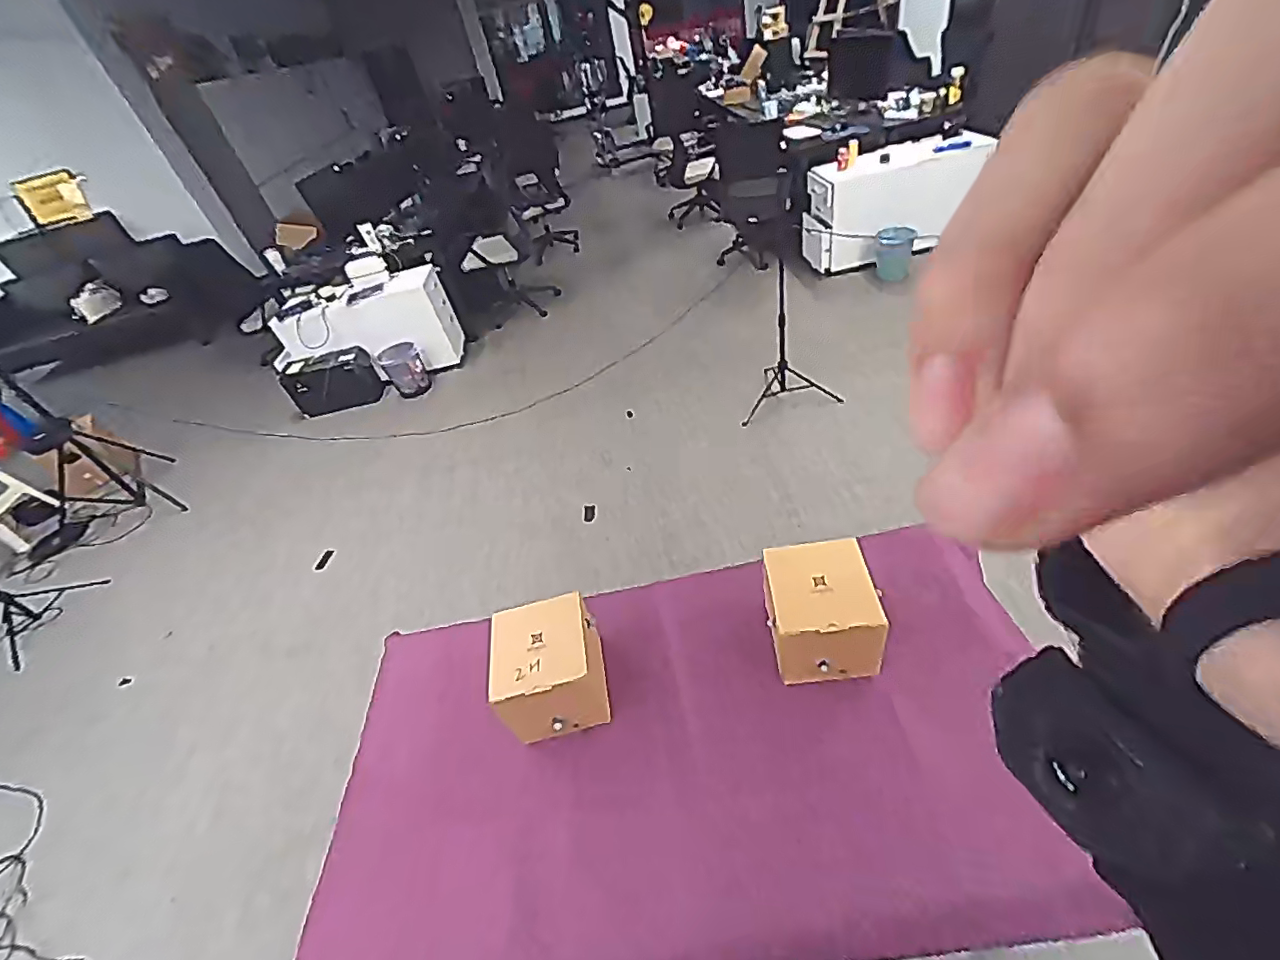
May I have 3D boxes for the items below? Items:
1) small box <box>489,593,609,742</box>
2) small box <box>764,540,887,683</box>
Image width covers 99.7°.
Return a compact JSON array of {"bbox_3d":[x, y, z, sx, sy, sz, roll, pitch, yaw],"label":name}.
[{"bbox_3d":[-0.160,0.338,0.975,0.168,0.176,0.179,-15,41,0],"label":"small box"},{"bbox_3d":[0.316,0.232,0.954,0.168,0.176,0.179,-9,42,8],"label":"small box"}]
